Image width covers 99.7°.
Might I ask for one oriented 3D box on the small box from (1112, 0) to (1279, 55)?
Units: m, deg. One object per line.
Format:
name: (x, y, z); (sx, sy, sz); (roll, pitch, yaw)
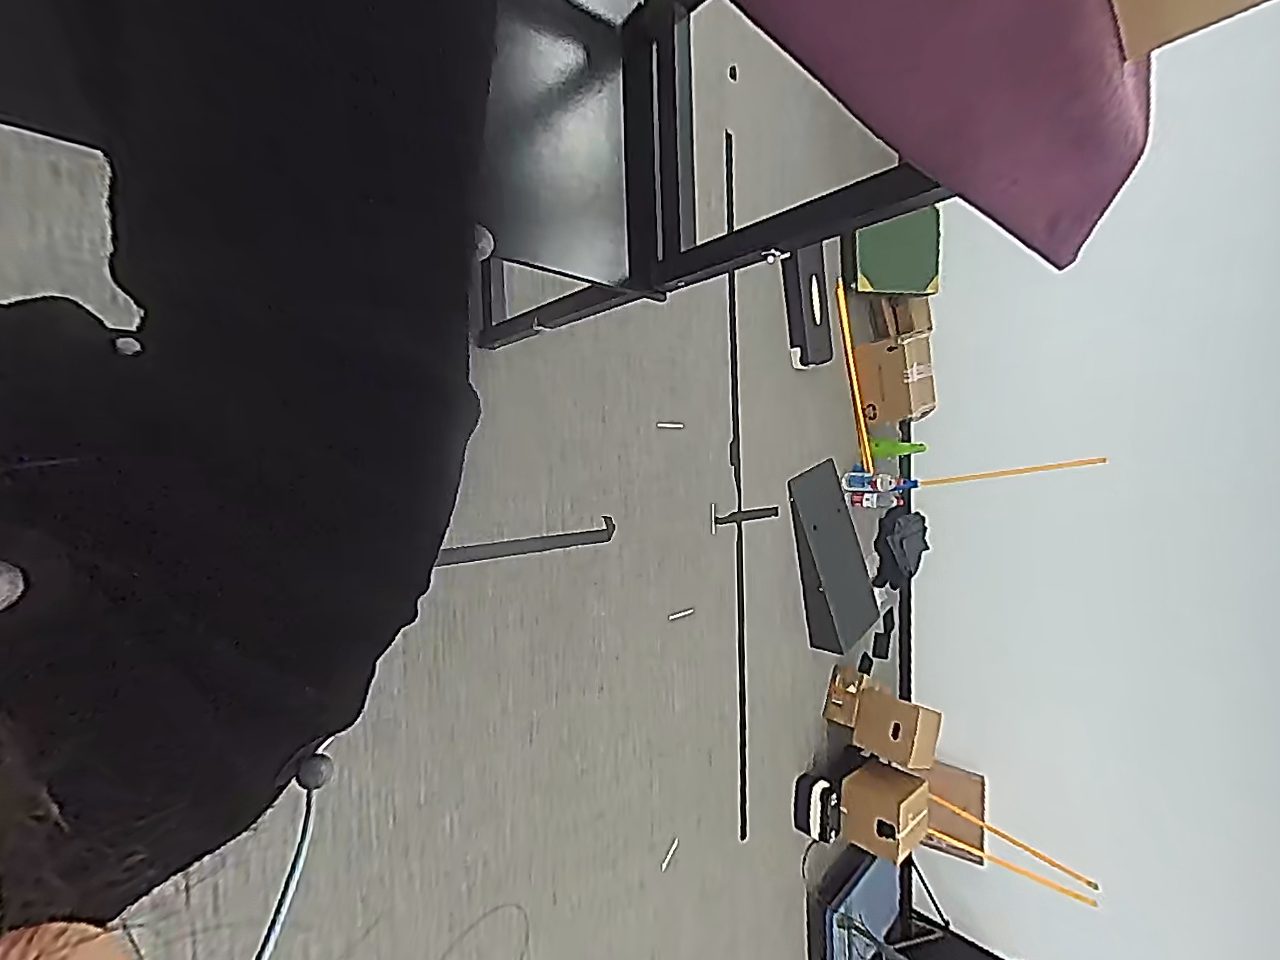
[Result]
small box: (0.467, -0.476, 0.408); (0.179, 0.176, 0.168); (0, 90, -42)
